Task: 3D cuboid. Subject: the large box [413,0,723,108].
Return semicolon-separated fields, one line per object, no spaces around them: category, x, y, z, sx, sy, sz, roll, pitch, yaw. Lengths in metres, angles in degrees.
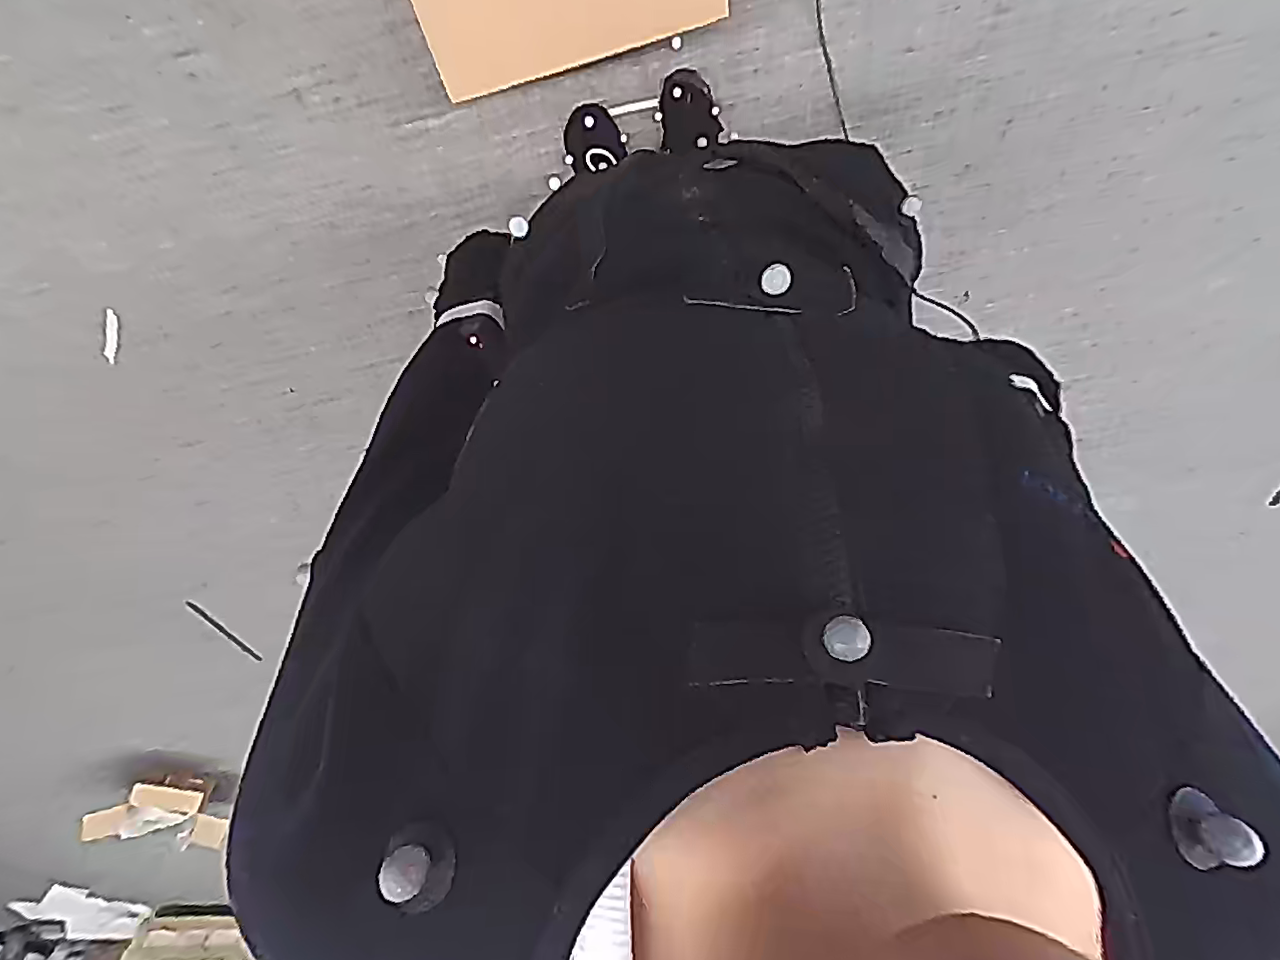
large box;-0.119;-0.792;0.774;0.408;0.320;0.320;-12;130;8
